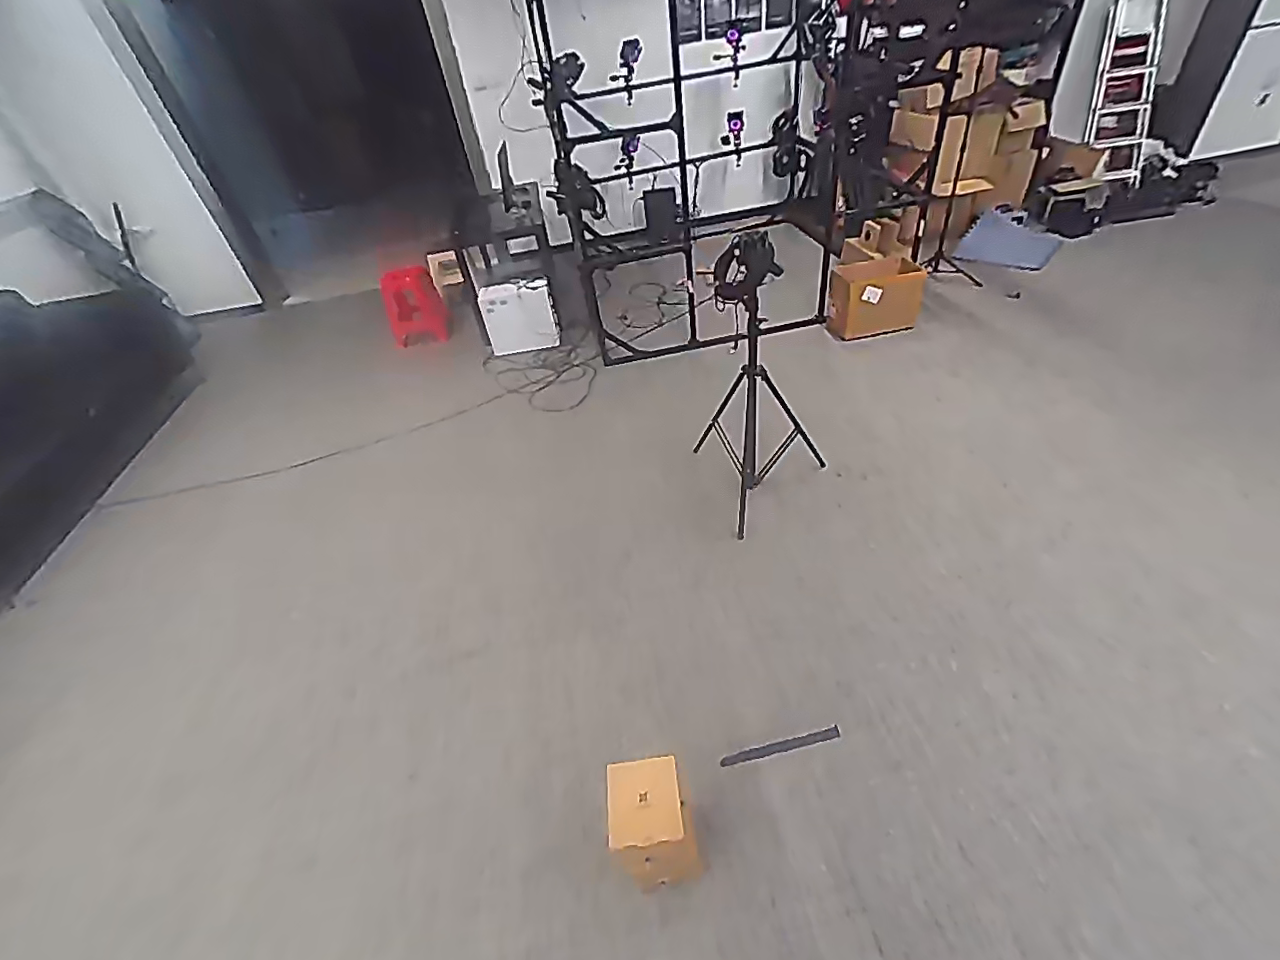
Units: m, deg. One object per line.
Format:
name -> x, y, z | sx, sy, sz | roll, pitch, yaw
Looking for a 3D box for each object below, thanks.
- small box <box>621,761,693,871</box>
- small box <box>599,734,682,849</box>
small box -> 0.033, 0.836, 1.345 | 0.168, 0.176, 0.179 | -11, 41, 0
small box -> 0.001, 0.715, 1.241 | 0.168, 0.176, 0.179 | -9, 42, 2
